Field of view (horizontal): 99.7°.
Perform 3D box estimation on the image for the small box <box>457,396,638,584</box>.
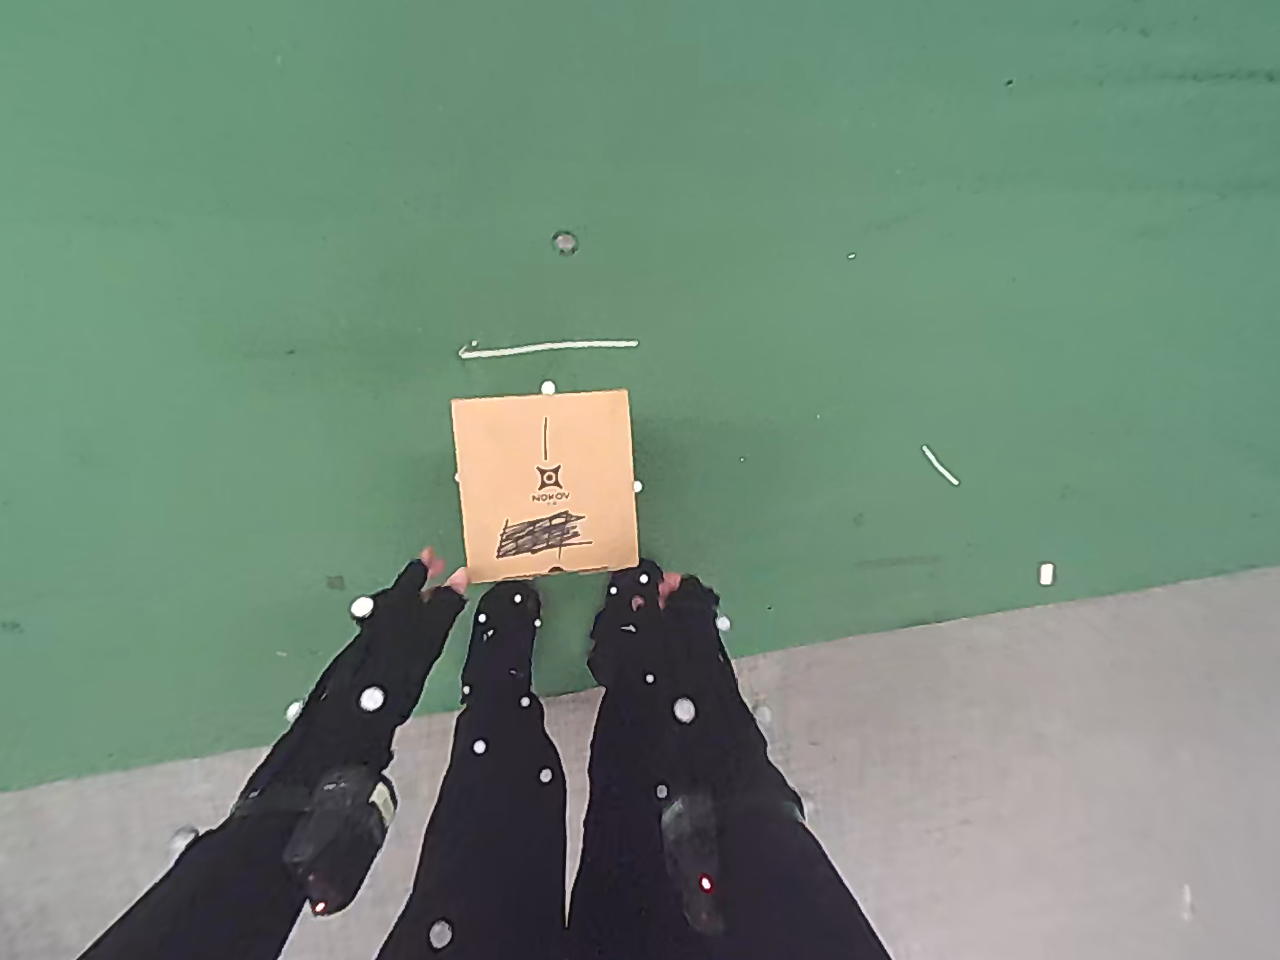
[{"bbox_3d":[-0.097,0.001,0.600,0.168,0.176,0.179,-5,96,-8],"label":"small box"}]
